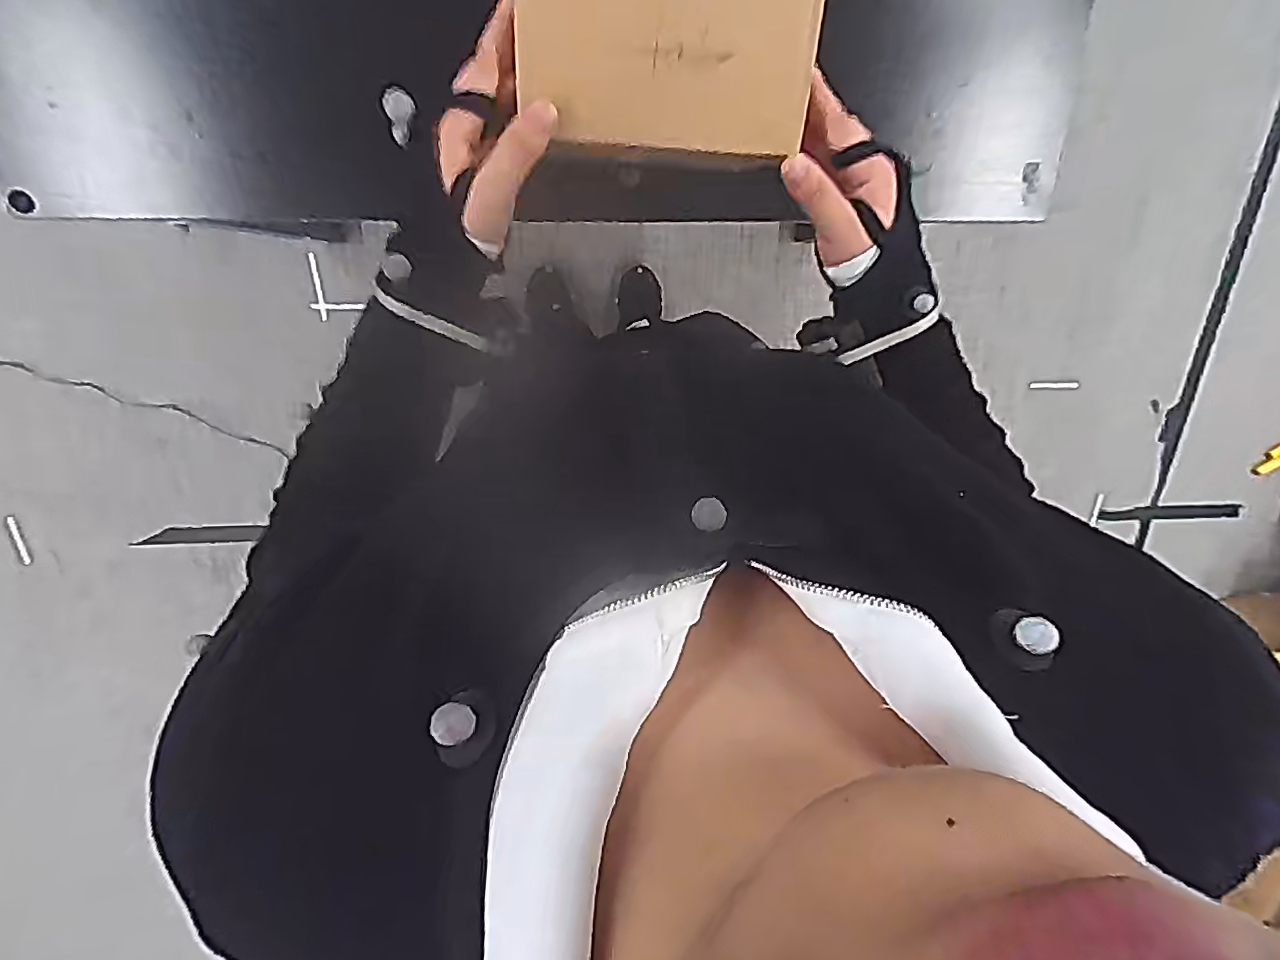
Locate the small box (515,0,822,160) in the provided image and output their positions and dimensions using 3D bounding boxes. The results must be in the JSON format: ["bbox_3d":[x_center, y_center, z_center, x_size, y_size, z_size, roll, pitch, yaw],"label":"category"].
[{"bbox_3d":[0.013,-0.315,0.344,0.168,0.176,0.179,2,118,-5],"label":"small box"}]
